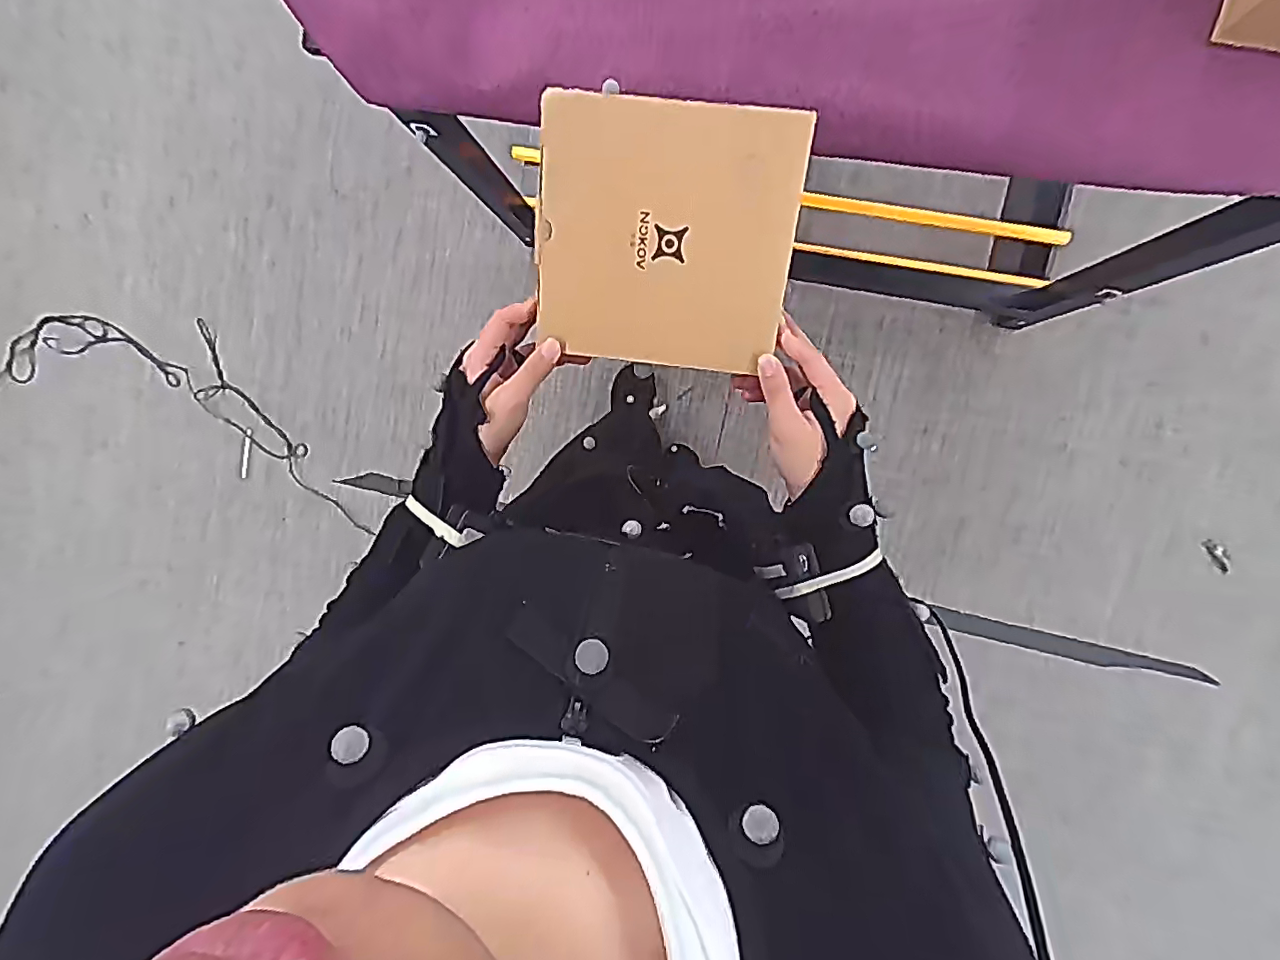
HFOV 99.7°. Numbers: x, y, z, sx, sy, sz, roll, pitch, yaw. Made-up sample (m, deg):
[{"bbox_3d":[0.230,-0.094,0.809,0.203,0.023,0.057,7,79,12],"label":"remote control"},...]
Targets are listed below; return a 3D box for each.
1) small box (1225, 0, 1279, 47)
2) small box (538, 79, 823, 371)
[{"bbox_3d":[0.638,-0.470,0.419,0.179,0.176,0.168,14,96,5],"label":"small box"},{"bbox_3d":[0.026,-0.191,0.434,0.179,0.176,0.168,7,111,4],"label":"small box"}]
